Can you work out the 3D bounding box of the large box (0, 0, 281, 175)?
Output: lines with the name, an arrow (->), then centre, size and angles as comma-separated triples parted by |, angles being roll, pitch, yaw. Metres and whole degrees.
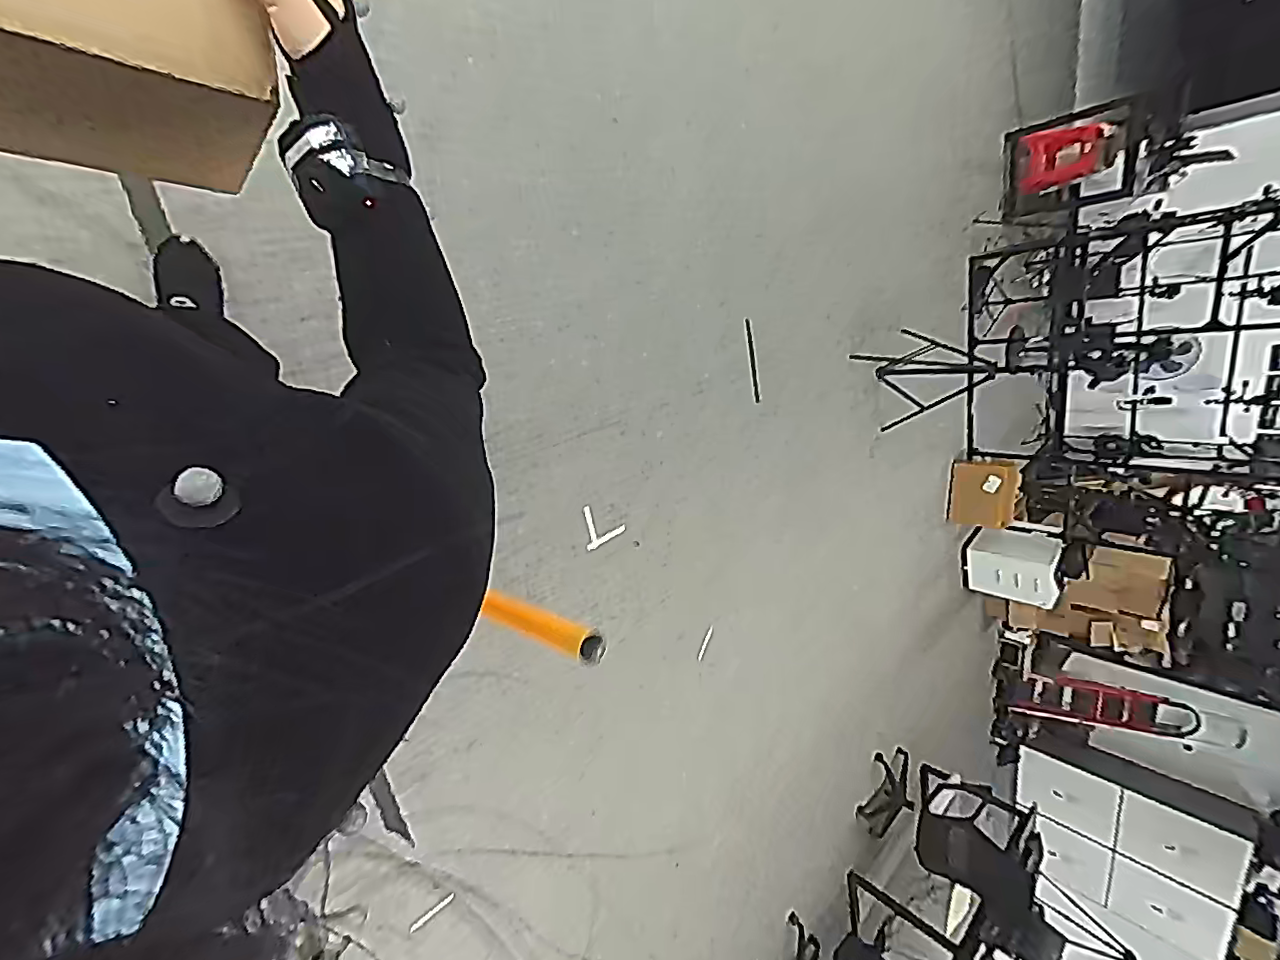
large box -> -0.525, -0.449, 0.374 | 0.408, 0.320, 0.320 | -9, 105, -40
